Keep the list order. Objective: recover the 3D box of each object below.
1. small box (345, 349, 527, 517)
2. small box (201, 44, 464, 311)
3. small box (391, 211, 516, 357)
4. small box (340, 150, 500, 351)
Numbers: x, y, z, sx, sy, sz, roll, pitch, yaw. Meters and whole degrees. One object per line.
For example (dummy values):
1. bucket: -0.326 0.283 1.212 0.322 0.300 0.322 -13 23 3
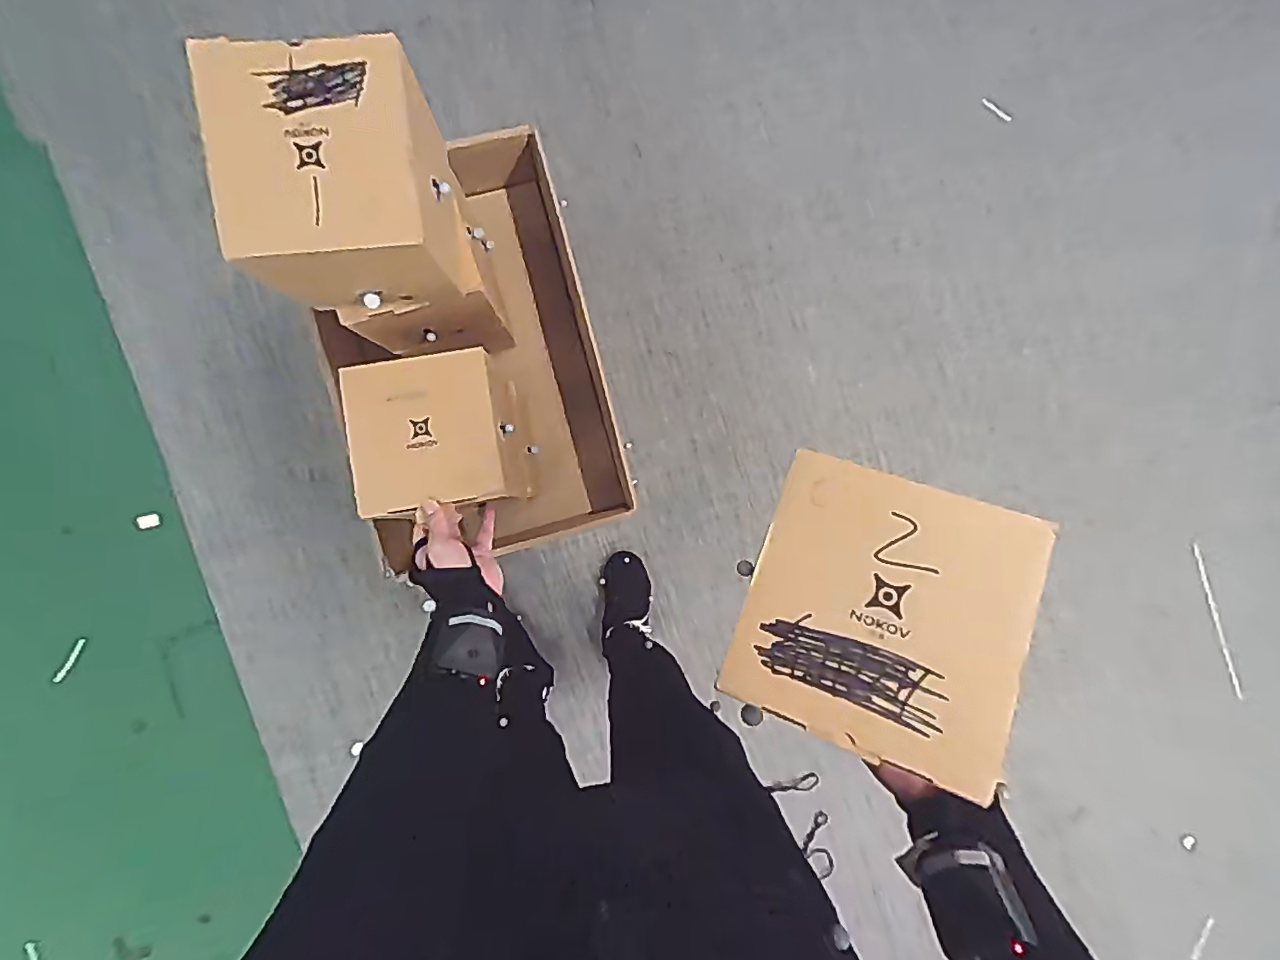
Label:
1. small box: -0.248 -0.050 0.696 0.168 0.176 0.179 -9 86 -3
2. small box: -0.283 -0.283 0.538 0.168 0.176 0.179 -7 93 -6
3. small box: -0.308 -0.291 0.863 0.168 0.176 0.179 -16 93 -4
4. small box: -0.293 -0.285 0.702 0.168 0.176 0.179 -16 94 -5
